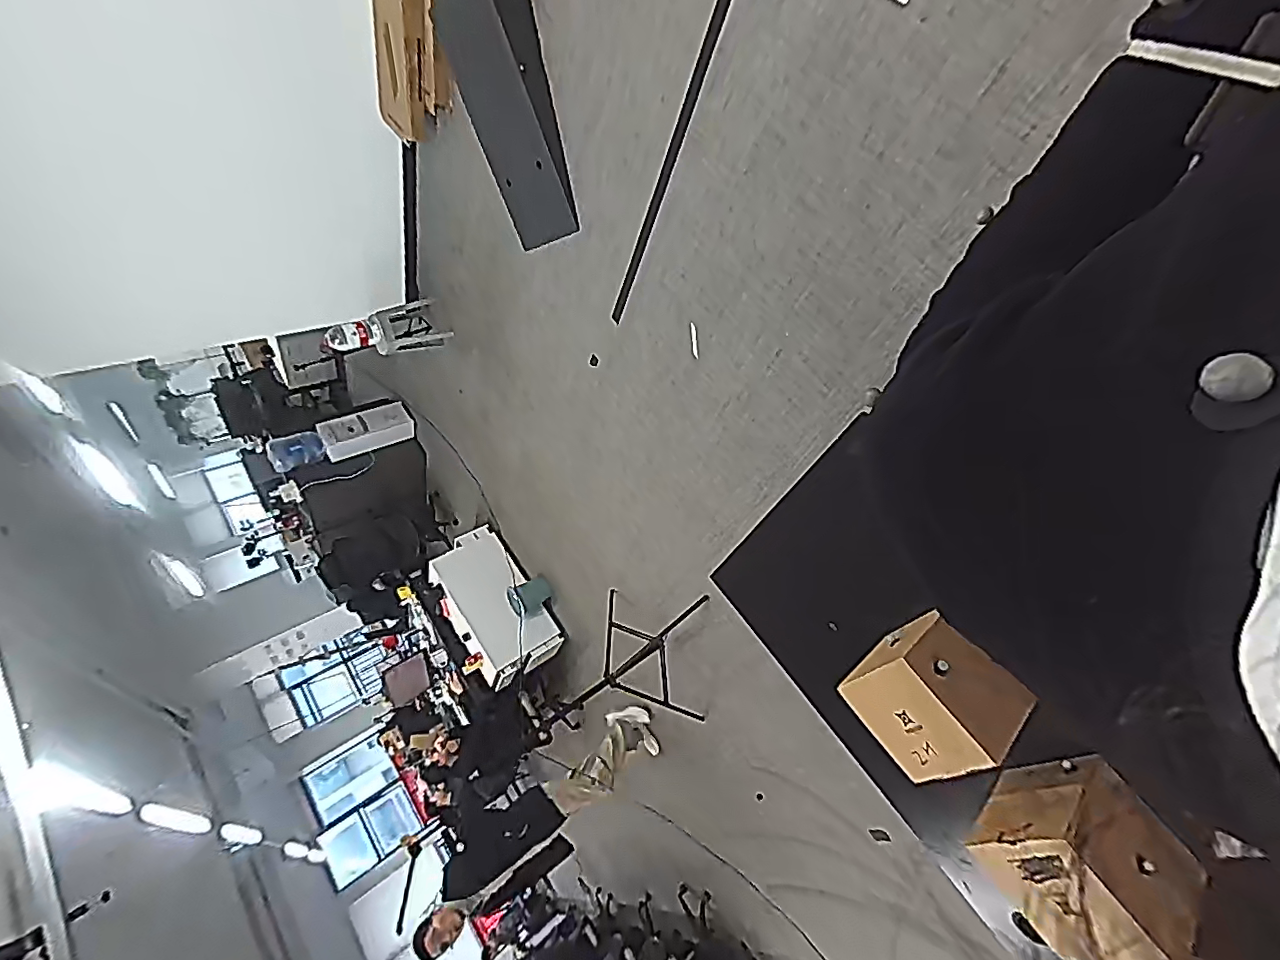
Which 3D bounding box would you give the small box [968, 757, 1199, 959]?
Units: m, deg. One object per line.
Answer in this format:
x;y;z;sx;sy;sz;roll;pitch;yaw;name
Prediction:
0.624;0.522;0.769;0.179;0.176;0.168;51;144;17;small box

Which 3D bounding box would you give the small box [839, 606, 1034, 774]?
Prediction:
0.464;0.322;0.854;0.179;0.176;0.168;51;145;19;small box
